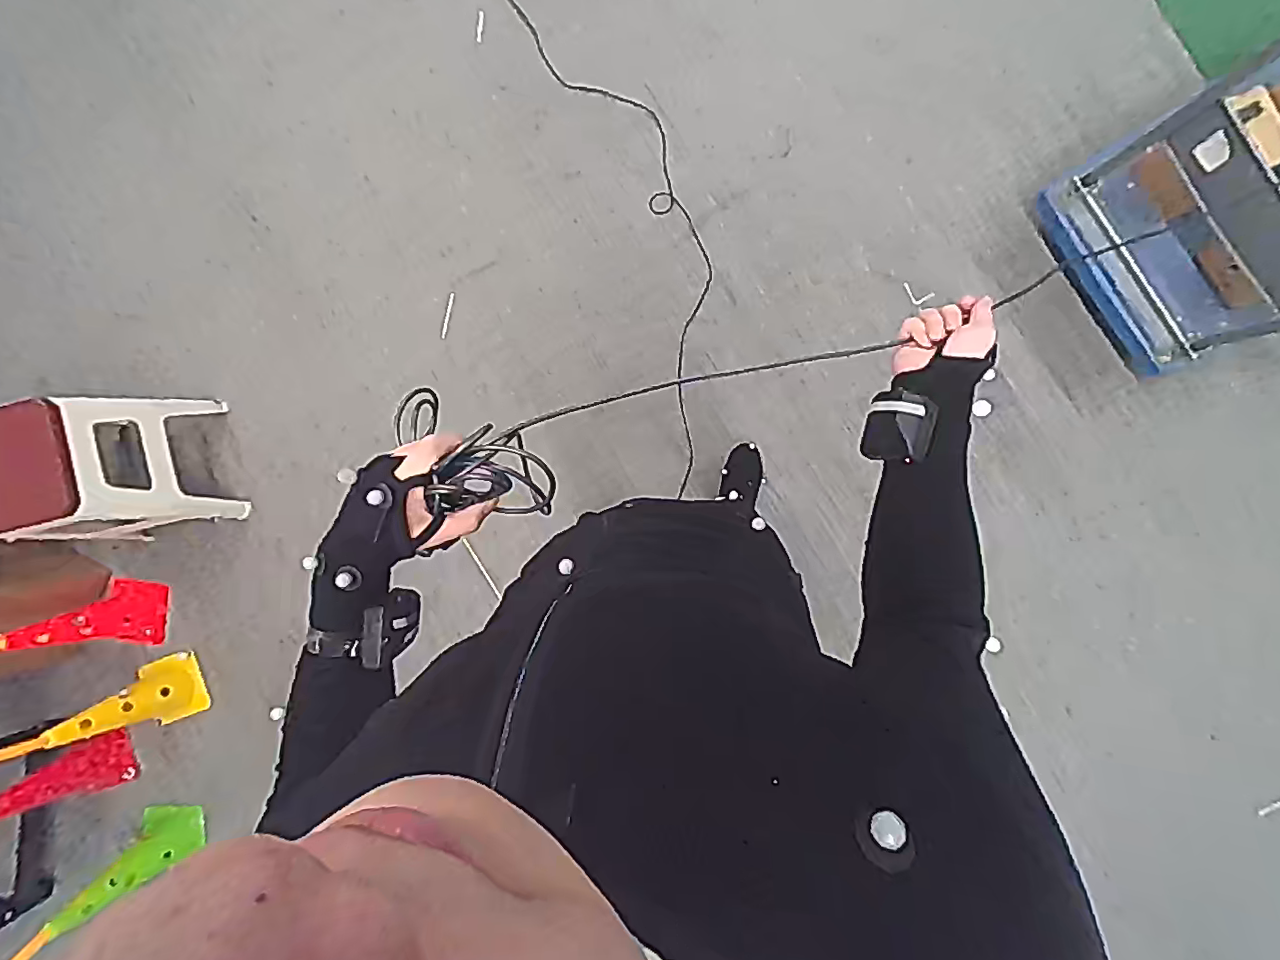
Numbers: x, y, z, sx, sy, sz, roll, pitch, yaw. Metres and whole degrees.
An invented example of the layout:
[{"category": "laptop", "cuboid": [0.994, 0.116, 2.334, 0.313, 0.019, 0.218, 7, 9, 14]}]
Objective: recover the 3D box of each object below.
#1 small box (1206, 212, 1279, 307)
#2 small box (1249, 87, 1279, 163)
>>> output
[{"category": "small box", "cuboid": [1.508, -0.535, 1.257, 0.179, 0.176, 0.168, -31, 88, 5]}, {"category": "small box", "cuboid": [1.591, -0.881, 1.248, 0.179, 0.176, 0.168, -35, 89, 4]}]
